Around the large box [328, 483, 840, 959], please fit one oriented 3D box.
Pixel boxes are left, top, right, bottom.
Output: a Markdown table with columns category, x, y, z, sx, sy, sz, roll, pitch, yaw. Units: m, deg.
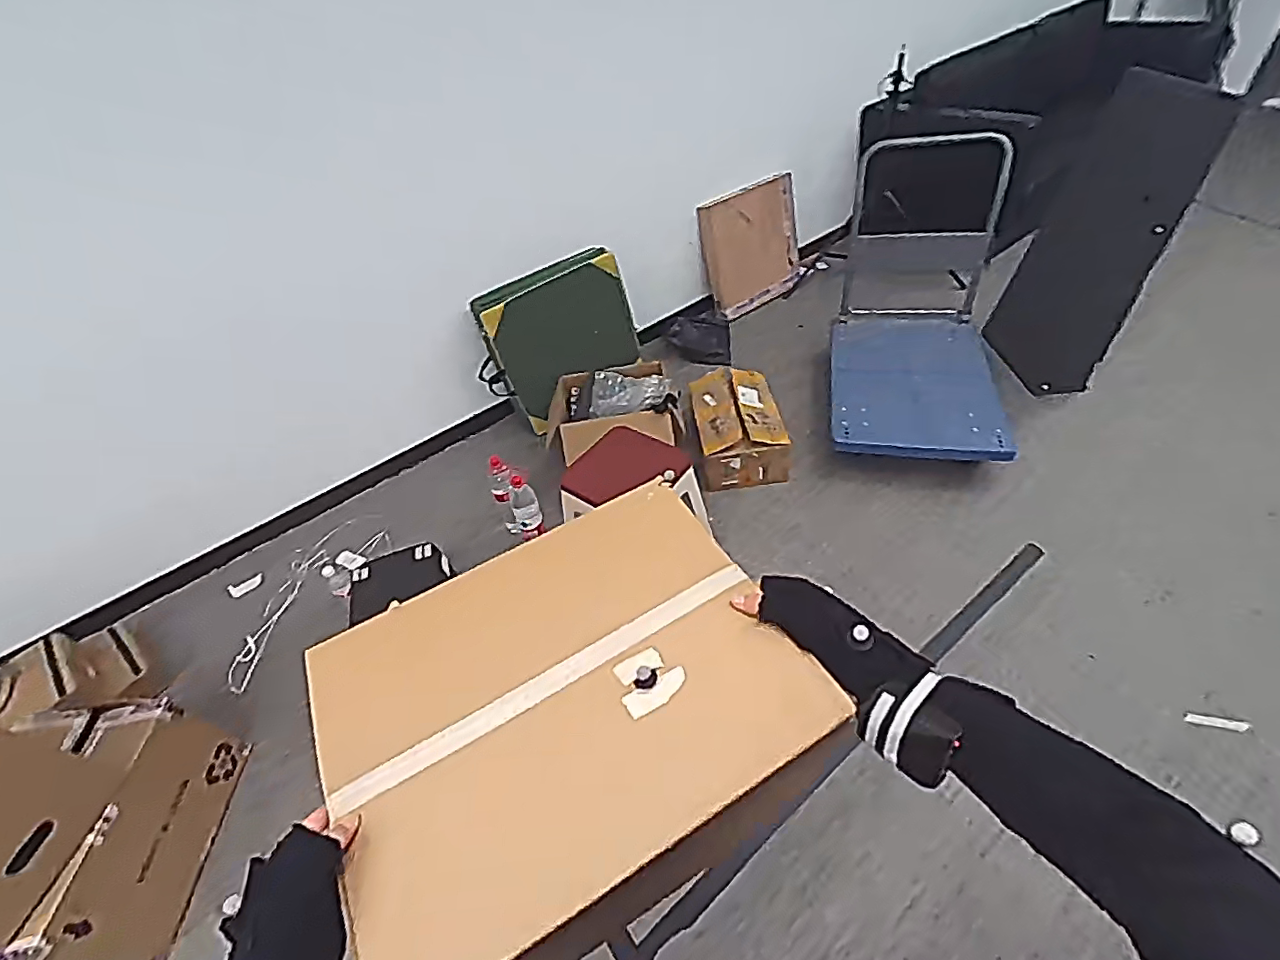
| category | x | y | z | sx | sy | sz | roll | pitch | yaw |
| --- | --- | --- | --- | --- | --- | --- | --- | --- | --- |
| large box | -0.056 | 0.278 | 0.611 | 0.408 | 0.320 | 0.320 | -25 | 51 | -15 |
